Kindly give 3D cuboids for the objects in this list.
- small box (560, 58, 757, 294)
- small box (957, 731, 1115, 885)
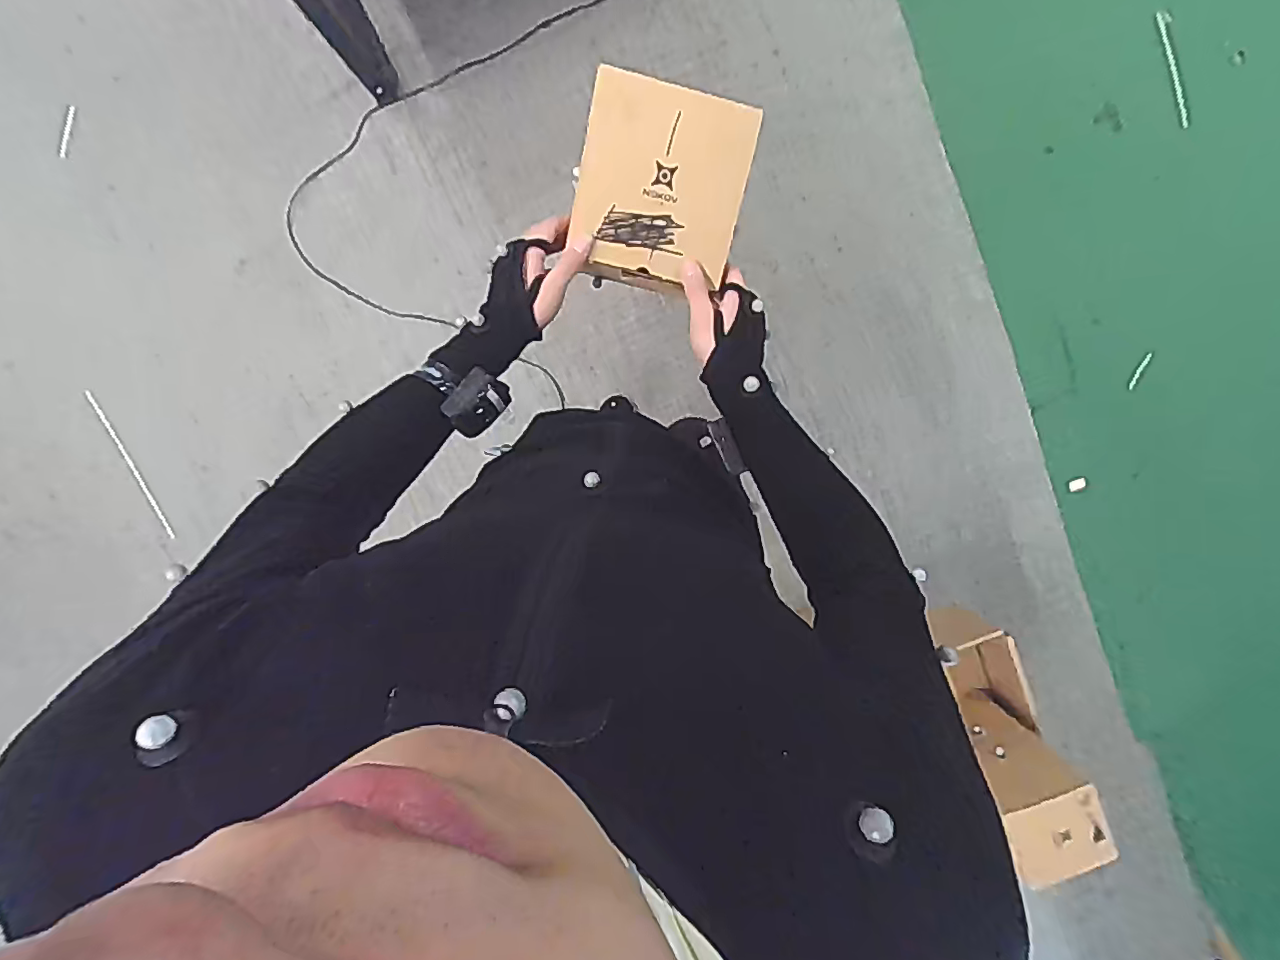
[{"bbox_3d":[0.013,-0.317,0.609,0.168,0.176,0.179,11,104,-6],"label":"small box"},{"bbox_3d":[0.759,0.633,1.062,0.179,0.176,0.168,-22,97,3],"label":"small box"}]
